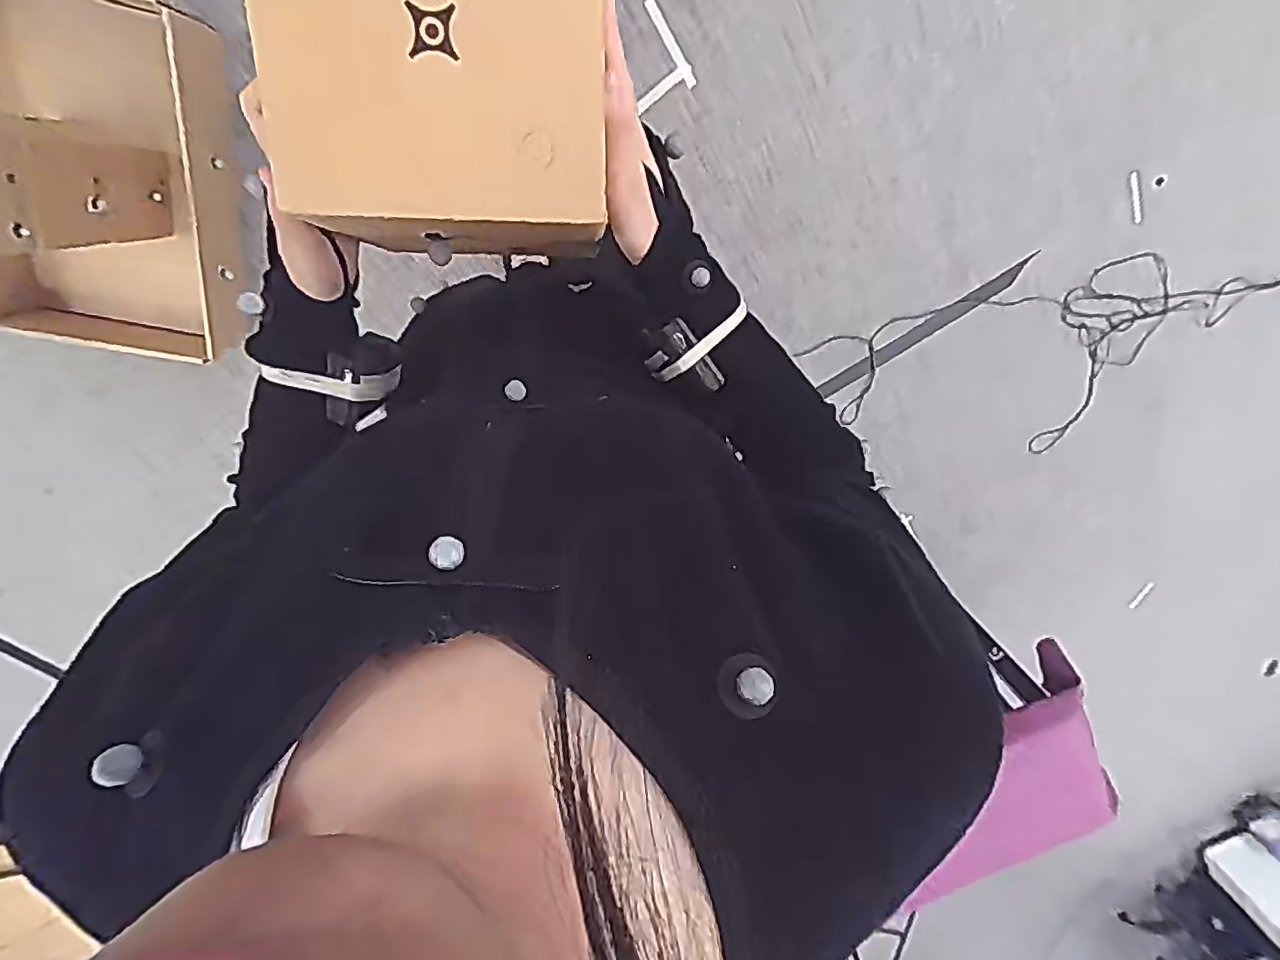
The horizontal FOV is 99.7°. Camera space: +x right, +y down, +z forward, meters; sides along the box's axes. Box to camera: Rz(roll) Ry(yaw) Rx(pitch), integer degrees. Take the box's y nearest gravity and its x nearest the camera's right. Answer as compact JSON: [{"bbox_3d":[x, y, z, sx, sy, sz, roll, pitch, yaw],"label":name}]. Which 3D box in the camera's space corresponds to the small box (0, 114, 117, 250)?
[{"bbox_3d":[-1.009,-0.484,0.868,0.179,0.176,0.168,9,117,-14],"label":"small box"}]

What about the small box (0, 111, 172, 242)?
[{"bbox_3d":[-1.030,-0.560,1.009,0.179,0.176,0.168,11,116,-14],"label":"small box"}]

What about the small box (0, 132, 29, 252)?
[{"bbox_3d":[-0.993,-0.405,0.724,0.179,0.176,0.168,10,117,-12],"label":"small box"}]

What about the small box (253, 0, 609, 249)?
[{"bbox_3d":[-0.103,-0.245,0.330,0.168,0.176,0.179,-1,106,-6],"label":"small box"}]
